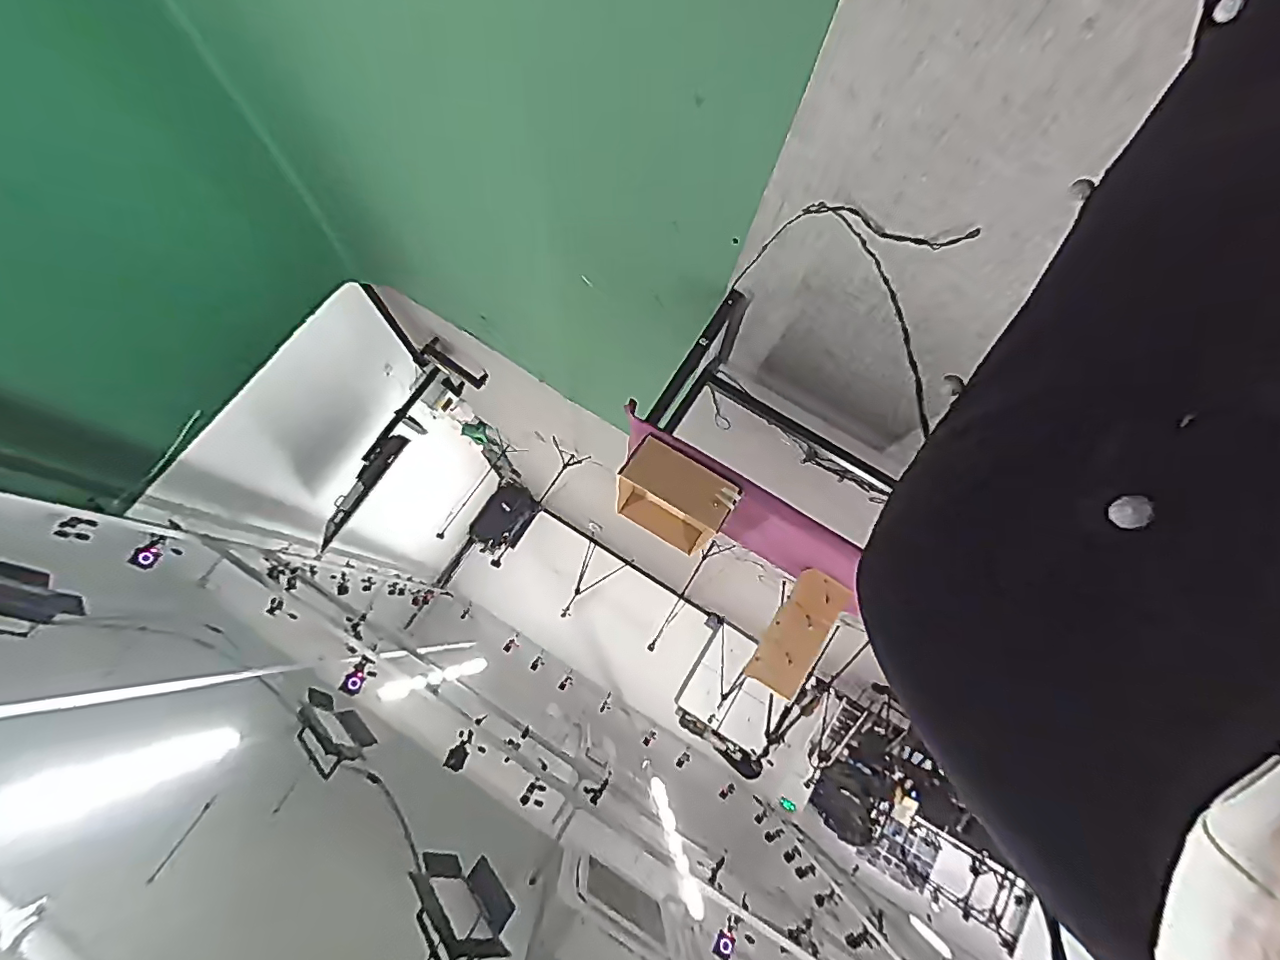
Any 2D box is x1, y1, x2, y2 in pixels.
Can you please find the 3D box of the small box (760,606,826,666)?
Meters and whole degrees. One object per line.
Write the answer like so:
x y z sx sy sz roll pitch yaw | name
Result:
0.607 0.612 2.140 0.168 0.176 0.179 33 165 3 | small box

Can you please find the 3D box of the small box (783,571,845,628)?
0.701 0.482 2.179 0.168 0.176 0.179 32 165 7 | small box
